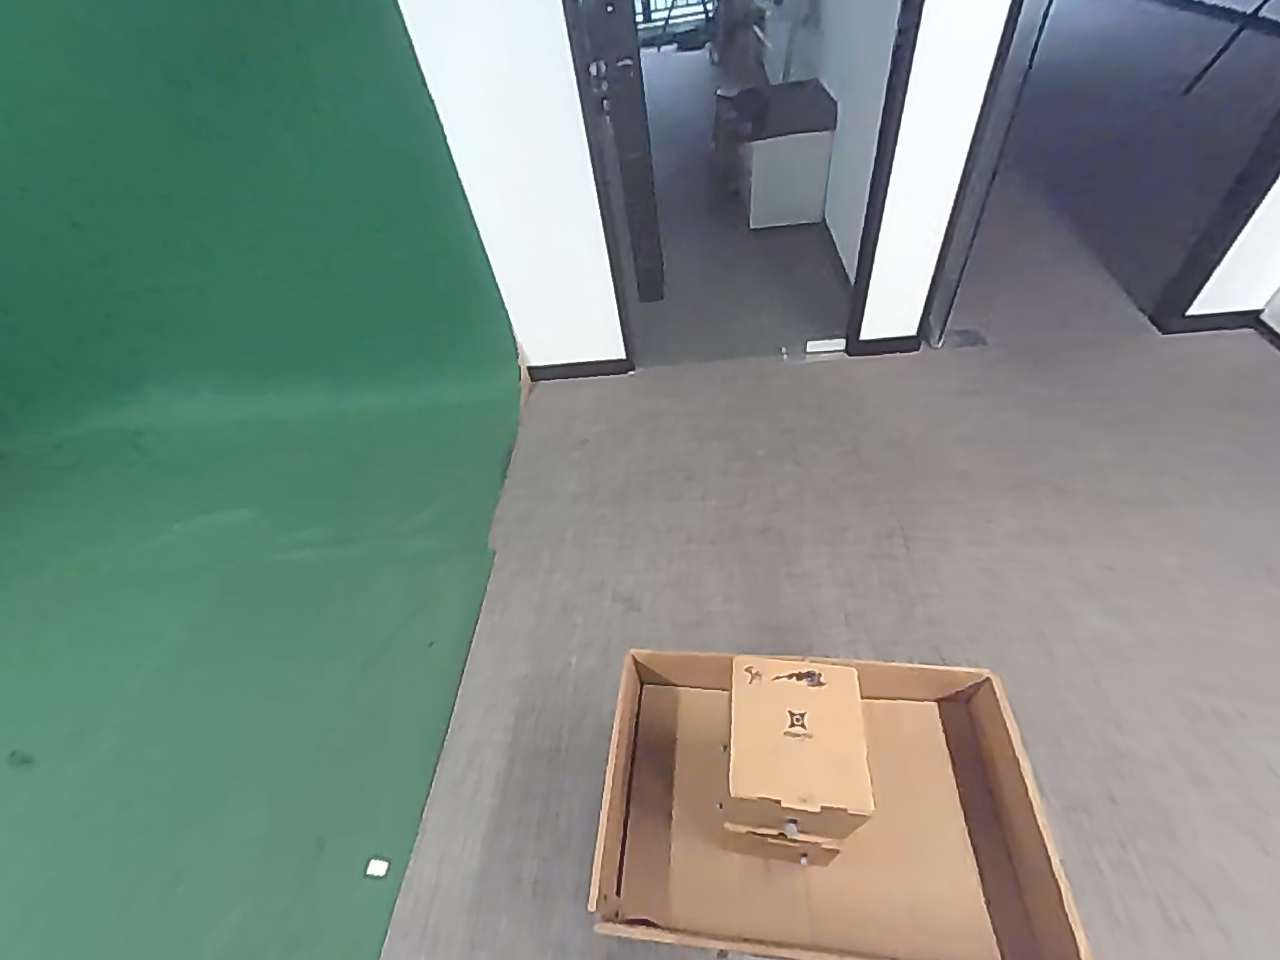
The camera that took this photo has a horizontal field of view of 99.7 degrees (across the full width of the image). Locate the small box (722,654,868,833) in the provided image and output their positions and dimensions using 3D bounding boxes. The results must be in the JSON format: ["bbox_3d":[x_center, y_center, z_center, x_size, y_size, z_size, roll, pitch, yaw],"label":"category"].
[{"bbox_3d":[0.201,0.363,0.741,0.168,0.176,0.179,4,50,9],"label":"small box"}]

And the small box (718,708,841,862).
[{"bbox_3d":[0.213,0.480,0.855,0.168,0.176,0.179,4,47,9],"label":"small box"}]
